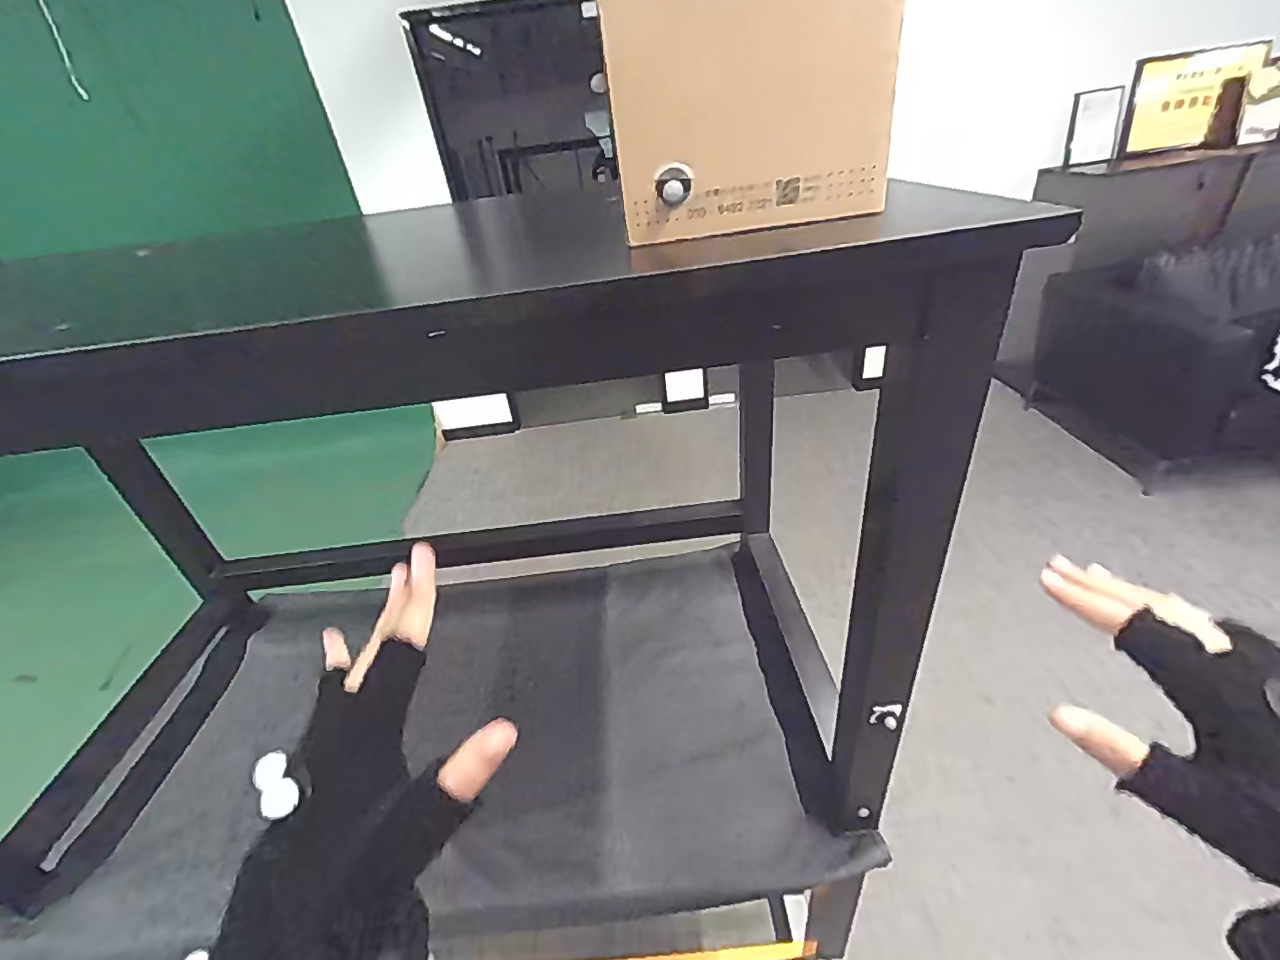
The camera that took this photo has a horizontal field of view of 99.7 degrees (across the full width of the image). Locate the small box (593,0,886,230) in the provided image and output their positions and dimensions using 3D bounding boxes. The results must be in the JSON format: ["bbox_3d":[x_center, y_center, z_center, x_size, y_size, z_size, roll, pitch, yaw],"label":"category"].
[{"bbox_3d":[0.062,-0.281,0.380,0.168,0.176,0.179,-5,32,4],"label":"small box"}]
